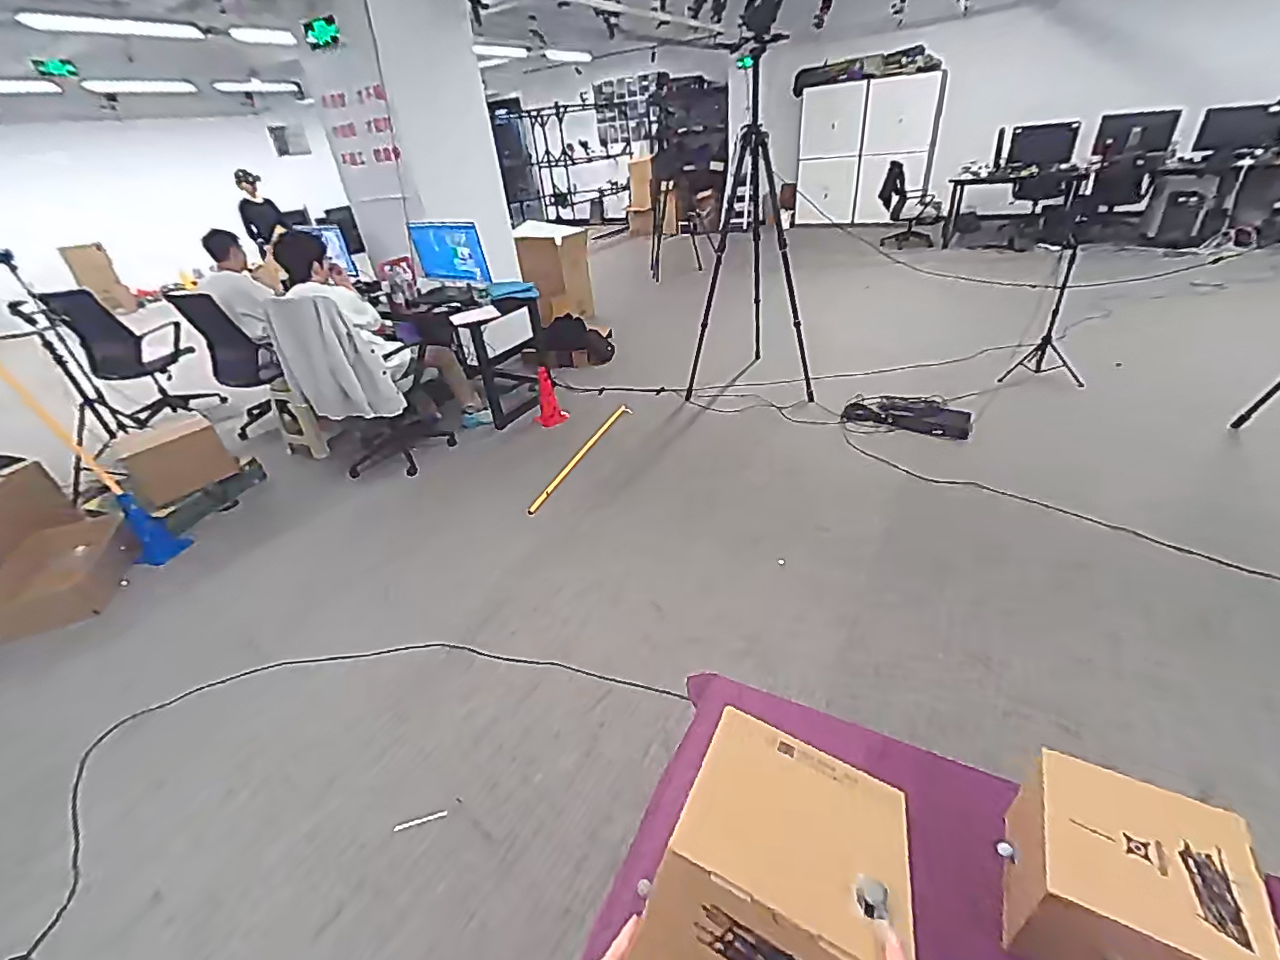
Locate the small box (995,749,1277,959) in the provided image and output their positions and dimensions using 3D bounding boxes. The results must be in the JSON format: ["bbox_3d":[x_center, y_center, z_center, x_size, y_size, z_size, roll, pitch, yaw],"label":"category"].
[{"bbox_3d":[0.509,0.440,0.583,0.179,0.176,0.168,12,37,29],"label":"small box"}]
